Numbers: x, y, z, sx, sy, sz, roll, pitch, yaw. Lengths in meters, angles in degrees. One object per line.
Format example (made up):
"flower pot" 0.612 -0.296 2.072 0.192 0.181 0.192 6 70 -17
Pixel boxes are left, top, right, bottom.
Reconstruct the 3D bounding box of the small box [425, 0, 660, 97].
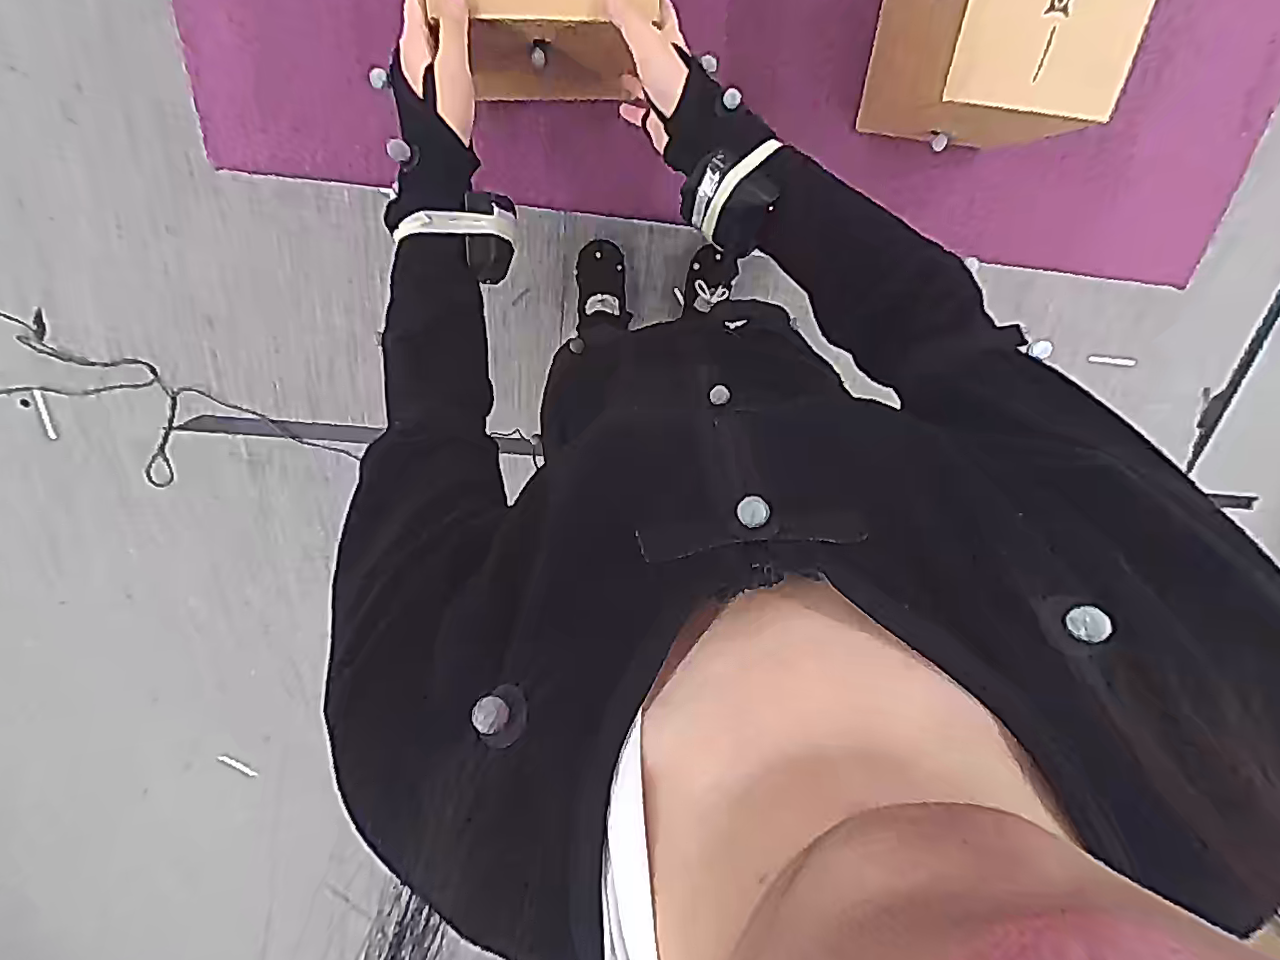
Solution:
"small box" -0.083 -0.449 0.456 0.179 0.176 0.168 -4 108 -4

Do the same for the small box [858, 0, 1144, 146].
"small box" 0.336 -0.441 0.519 0.168 0.176 0.179 3 115 -7
